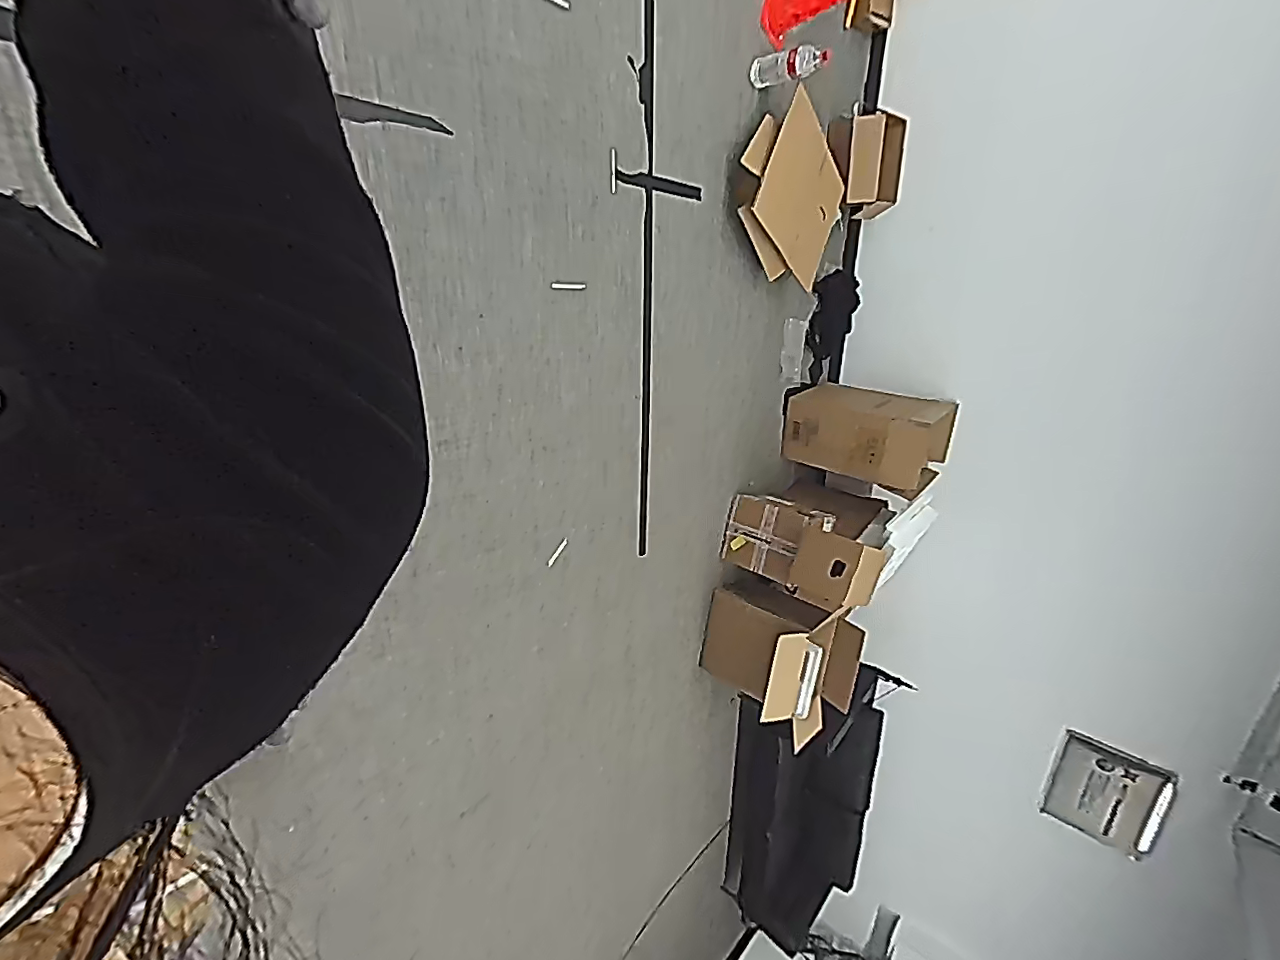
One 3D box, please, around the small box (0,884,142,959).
[{"bbox_3d":[-1.015,0.881,0.957,0.179,0.176,0.168,-21,117,-44],"label":"small box"}]
